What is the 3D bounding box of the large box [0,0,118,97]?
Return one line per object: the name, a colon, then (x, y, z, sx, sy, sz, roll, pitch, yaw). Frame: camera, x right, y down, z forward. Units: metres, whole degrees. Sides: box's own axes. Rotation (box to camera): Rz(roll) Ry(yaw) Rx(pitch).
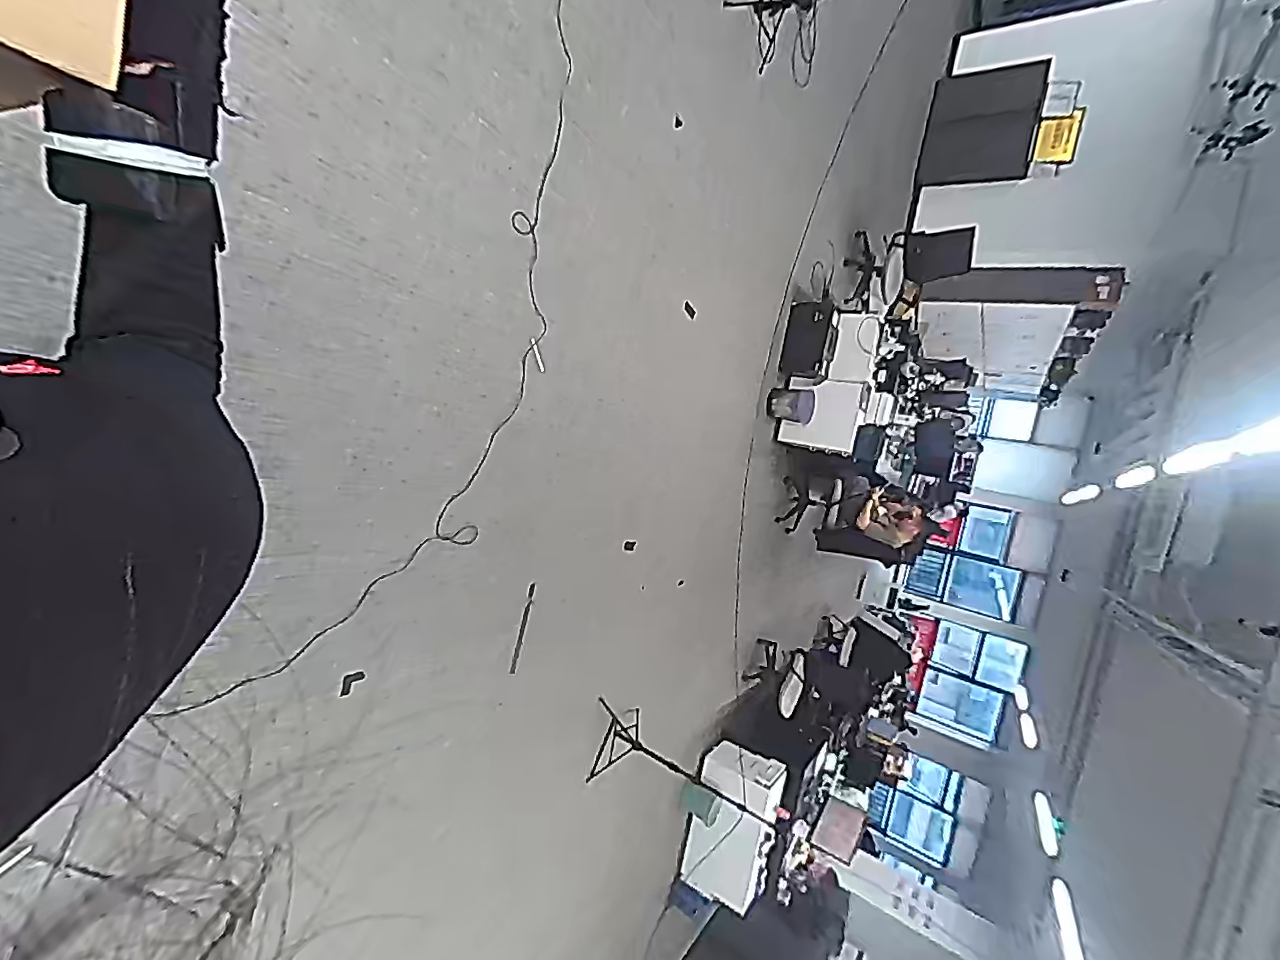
large box: (-0.512, -0.418, 0.199, 0.408, 0.320, 0.320, -3, 109, -62)
